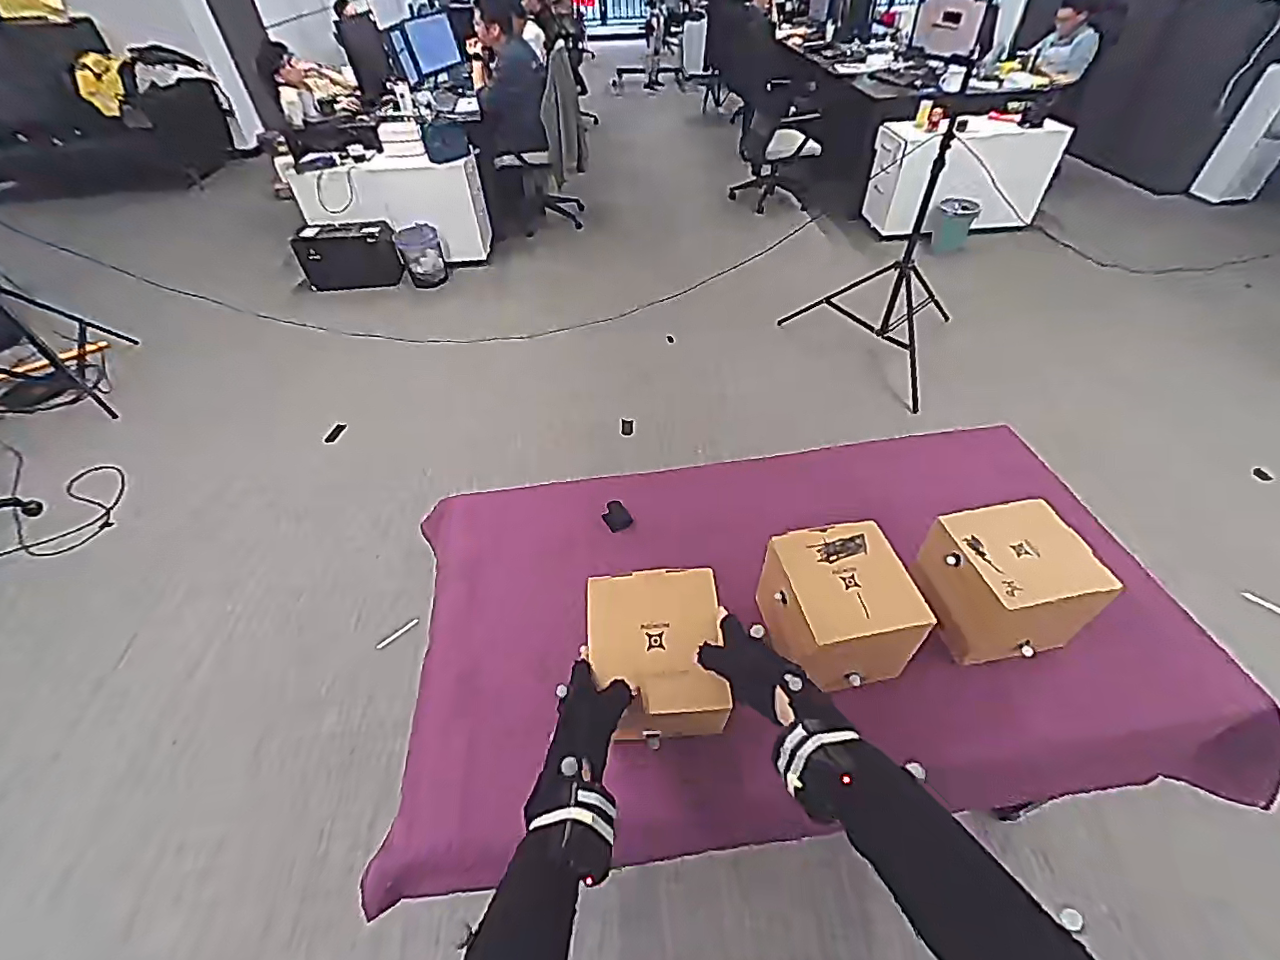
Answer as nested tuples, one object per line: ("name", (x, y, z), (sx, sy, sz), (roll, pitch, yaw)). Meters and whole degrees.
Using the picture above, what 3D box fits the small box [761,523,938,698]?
("small box", (0.290, 0.192, 0.798), (0.168, 0.176, 0.179), (-9, 46, -6))

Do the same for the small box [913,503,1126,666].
("small box", (0.551, 0.159, 0.819), (0.179, 0.176, 0.168), (-8, 45, -6))

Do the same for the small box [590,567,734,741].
("small box", (0.024, 0.235, 0.720), (0.168, 0.176, 0.179), (-6, 57, 1))
